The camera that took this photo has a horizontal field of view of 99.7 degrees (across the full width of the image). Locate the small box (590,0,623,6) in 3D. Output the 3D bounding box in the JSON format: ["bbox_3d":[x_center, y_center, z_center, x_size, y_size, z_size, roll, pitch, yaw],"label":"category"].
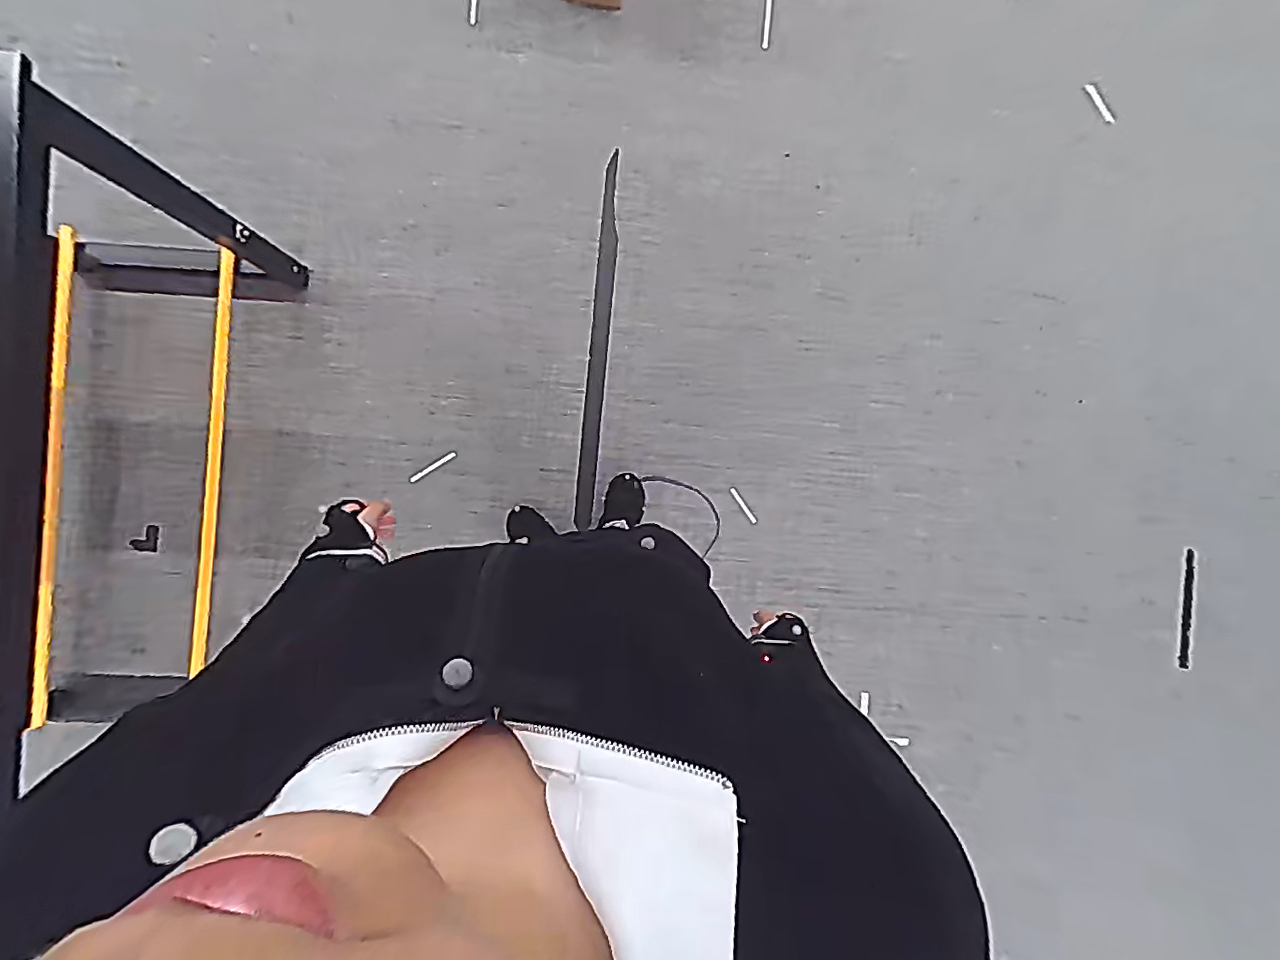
[{"bbox_3d":[-0.117,-1.374,1.384,0.179,0.176,0.168,8,91,-5],"label":"small box"}]
